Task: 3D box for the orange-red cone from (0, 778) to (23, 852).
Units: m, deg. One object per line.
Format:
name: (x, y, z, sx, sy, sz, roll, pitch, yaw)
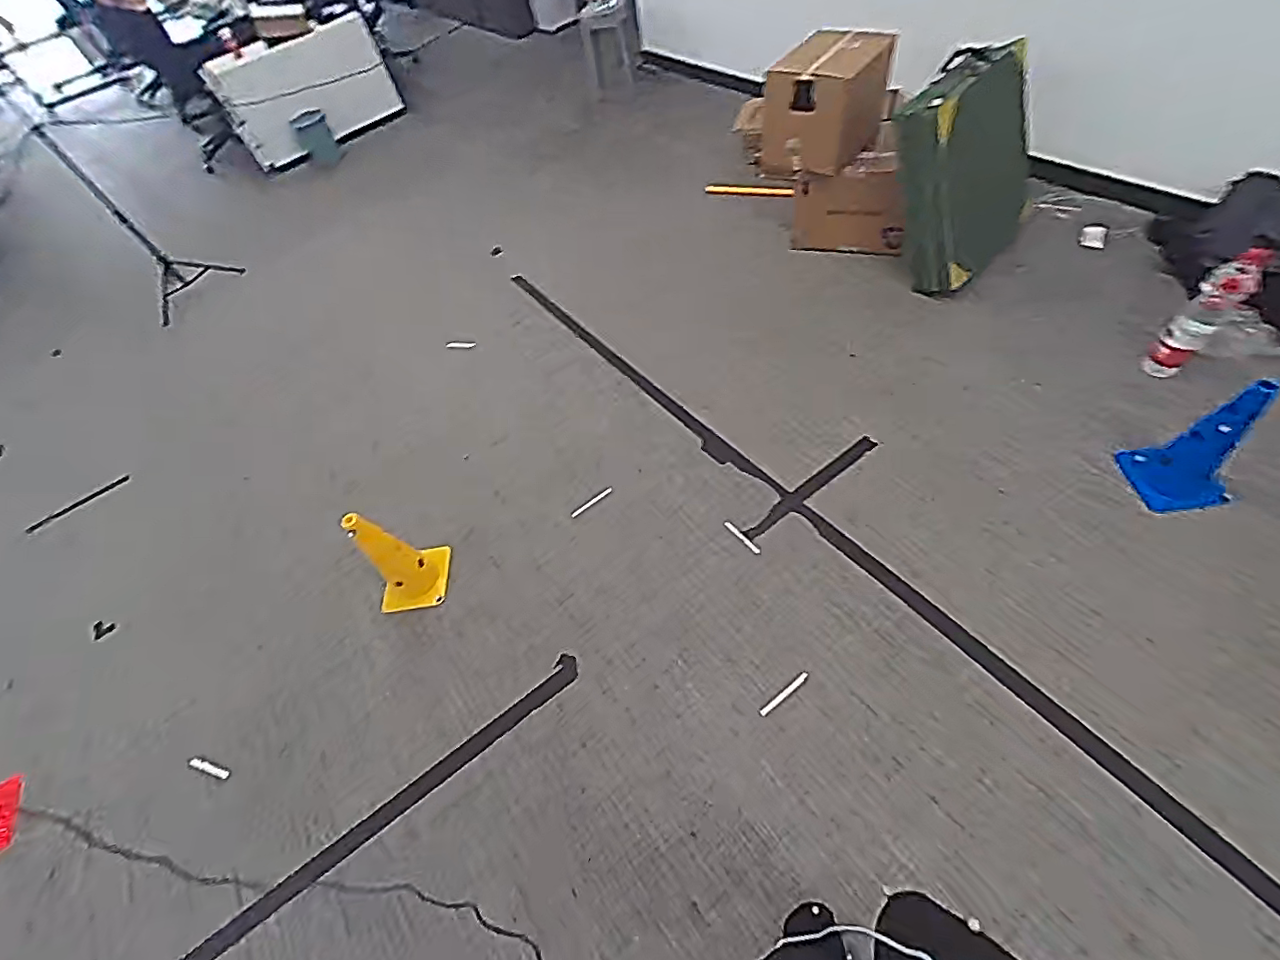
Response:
orange-red cone: (-1.827, 0.853, 1.338, 0.199, 0.360, 0.198, -29, 55, -10)
